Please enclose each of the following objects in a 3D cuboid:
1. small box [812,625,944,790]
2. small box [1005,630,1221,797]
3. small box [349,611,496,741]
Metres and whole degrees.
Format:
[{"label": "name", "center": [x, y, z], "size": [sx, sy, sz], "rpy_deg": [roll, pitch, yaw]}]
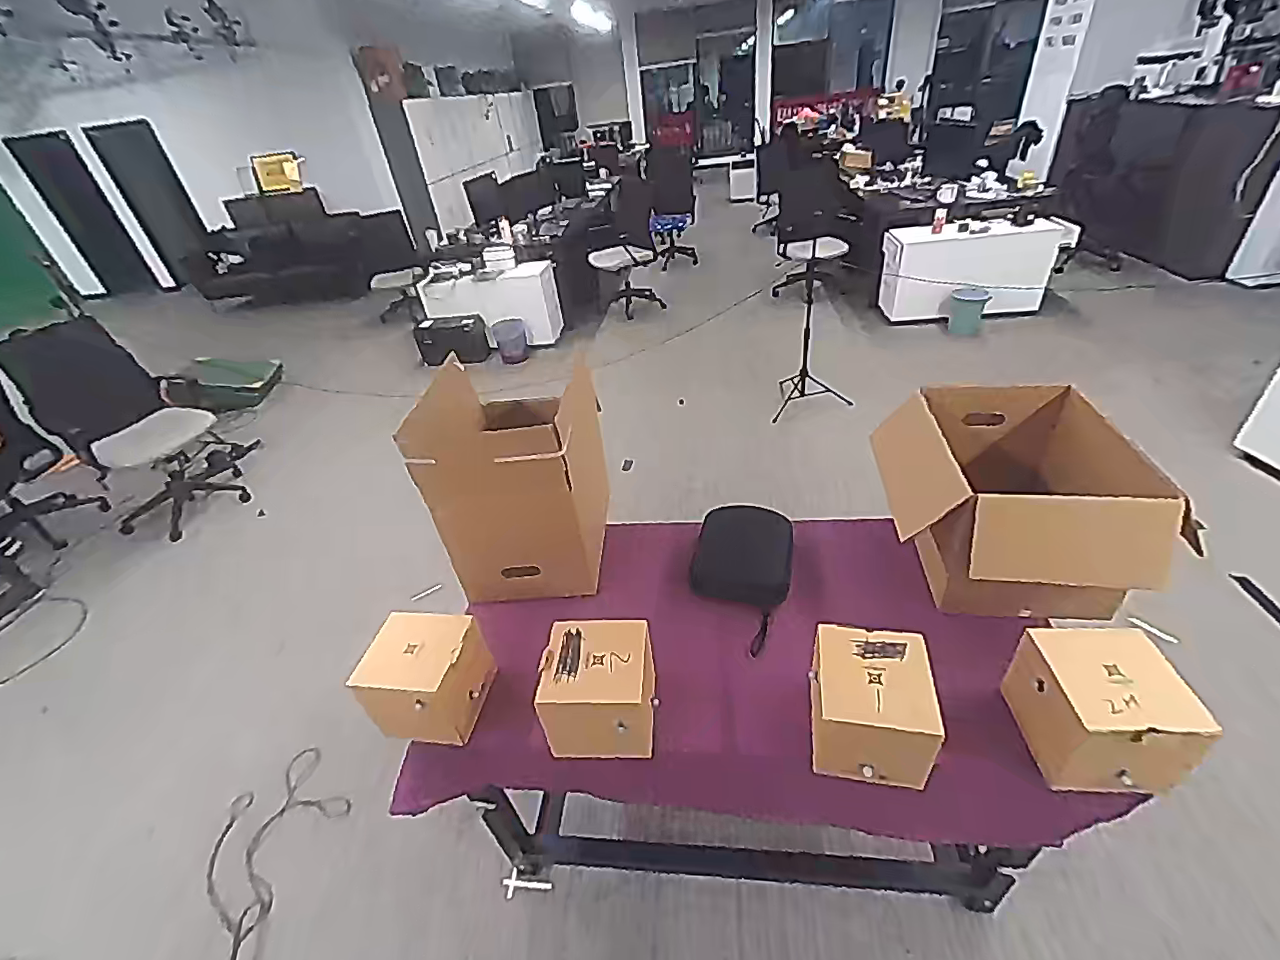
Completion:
[{"label": "small box", "center": [0.373, 0.367, 0.883], "size": [0.168, 0.176, 0.179], "rpy_deg": [3, 38, 14]}, {"label": "small box", "center": [0.702, 0.354, 0.834], "size": [0.168, 0.176, 0.179], "rpy_deg": [-2, 36, 9]}, {"label": "small box", "center": [-0.399, 0.370, 1.025], "size": [0.179, 0.176, 0.168], "rpy_deg": [1, 36, 10]}]
